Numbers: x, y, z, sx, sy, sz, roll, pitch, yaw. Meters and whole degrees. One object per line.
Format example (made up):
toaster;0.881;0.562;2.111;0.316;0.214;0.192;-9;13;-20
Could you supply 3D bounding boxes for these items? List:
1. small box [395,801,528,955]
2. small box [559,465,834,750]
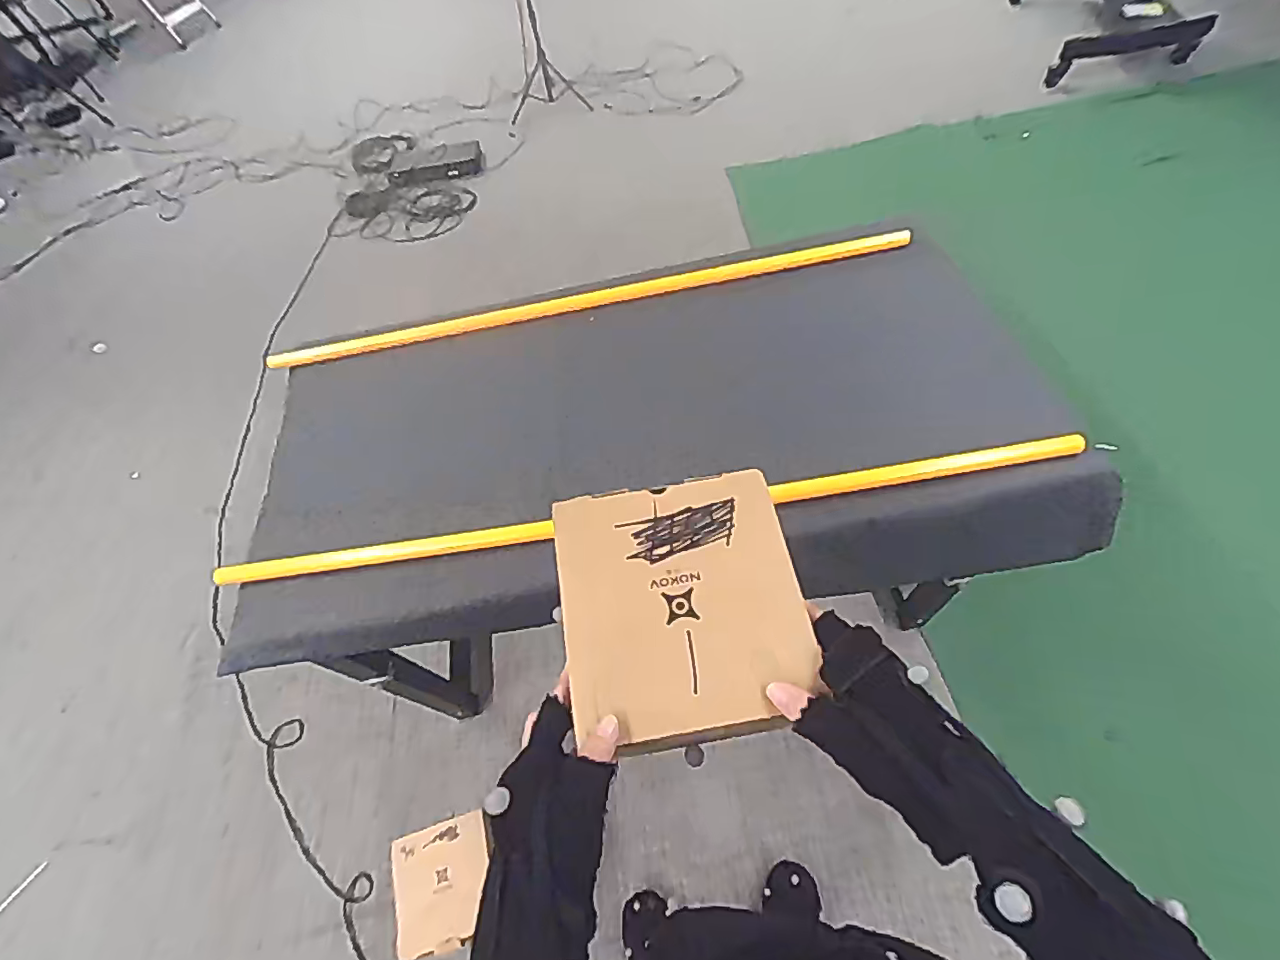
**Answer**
small box;-0.318;0.707;0.983;0.168;0.176;0.179;-21;58;-4
small box;0.034;0.113;0.447;0.168;0.176;0.179;-10;62;-1
